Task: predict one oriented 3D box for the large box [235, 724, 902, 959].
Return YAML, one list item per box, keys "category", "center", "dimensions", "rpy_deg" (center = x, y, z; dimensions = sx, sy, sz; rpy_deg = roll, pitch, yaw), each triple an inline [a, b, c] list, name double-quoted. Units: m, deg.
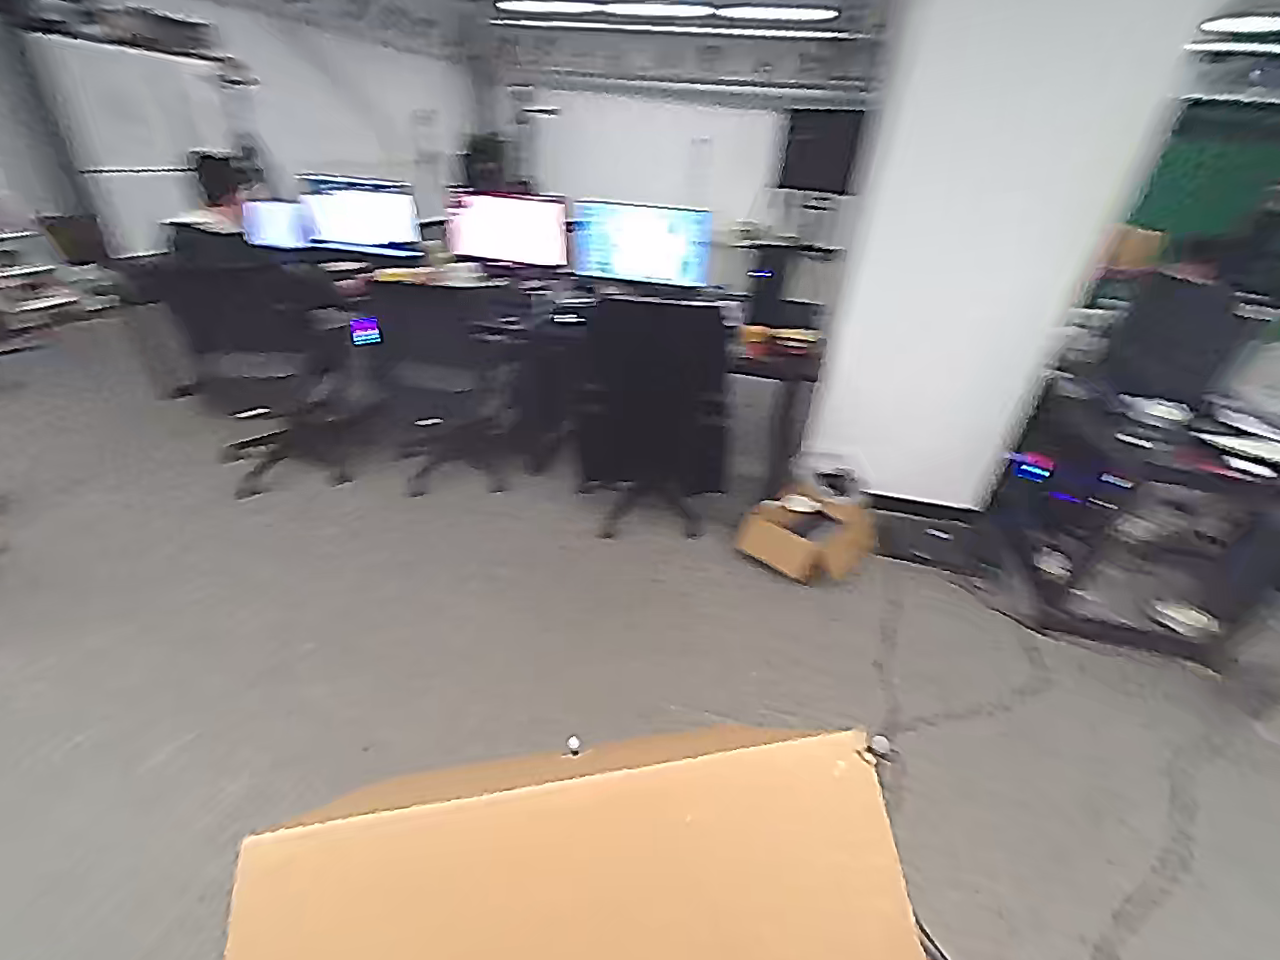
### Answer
- category: "large box"
  center: [-0.045, 0.404, 0.444]
  dimensions: [0.408, 0.320, 0.320]
  rpy_deg: [-5, 69, -14]
